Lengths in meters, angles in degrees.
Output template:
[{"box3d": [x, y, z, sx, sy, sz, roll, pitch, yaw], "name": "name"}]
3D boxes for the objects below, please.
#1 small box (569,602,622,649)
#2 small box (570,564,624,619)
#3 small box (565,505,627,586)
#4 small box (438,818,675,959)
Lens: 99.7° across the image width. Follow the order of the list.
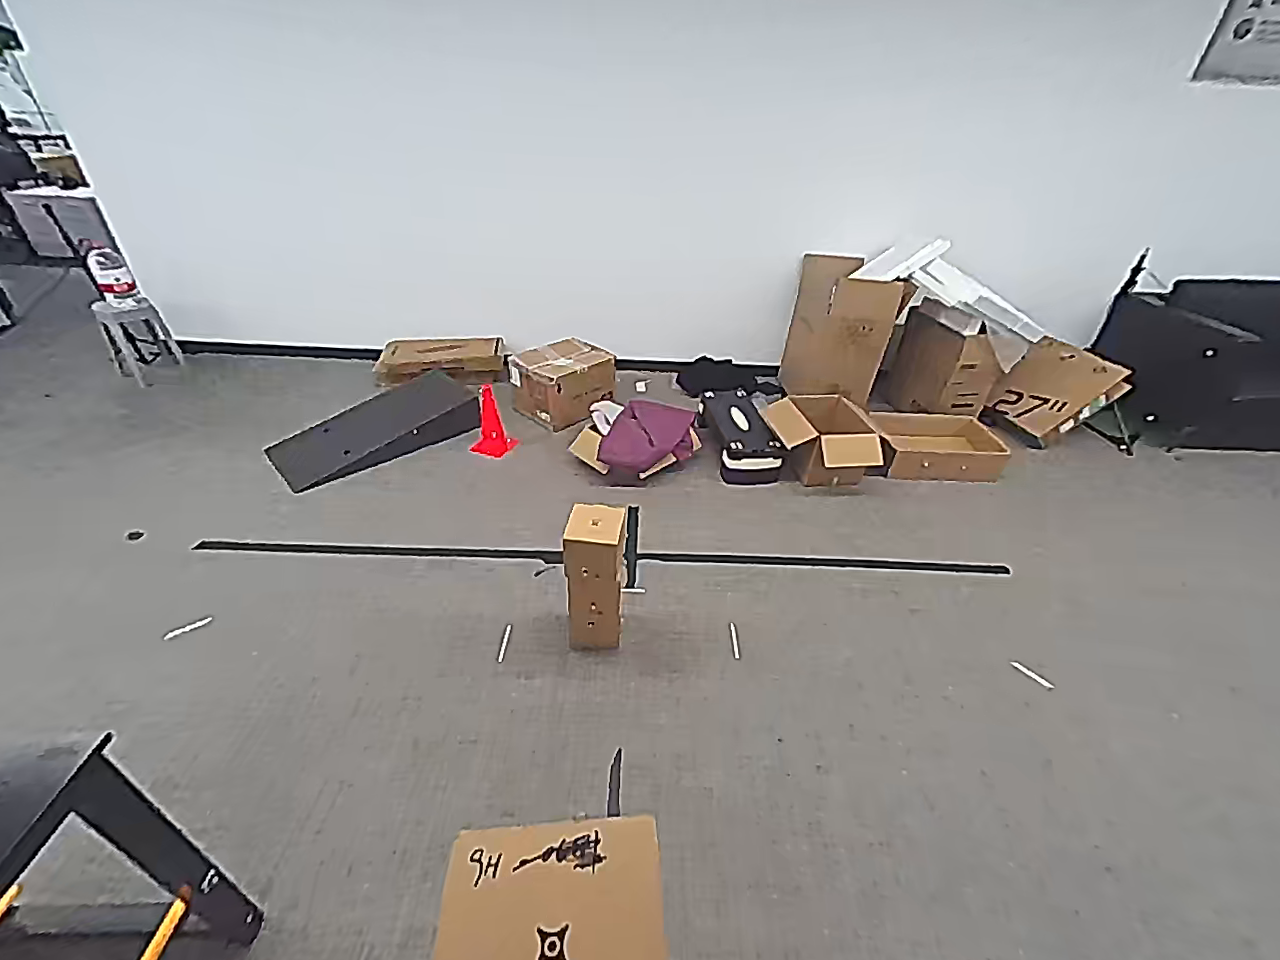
[{"box3d": [-0.152, 0.468, 1.870, 0.179, 0.176, 0.168, 1, 35, -4], "name": "small box"}, {"box3d": [-0.140, 0.332, 1.777, 0.168, 0.176, 0.179, 2, 35, -1], "name": "small box"}, {"box3d": [-0.133, 0.202, 1.679, 0.168, 0.176, 0.179, 5, 36, 4], "name": "small box"}, {"box3d": [-0.054, 0.392, 0.417, 0.168, 0.176, 0.179, -4, 40, -2], "name": "small box"}]
